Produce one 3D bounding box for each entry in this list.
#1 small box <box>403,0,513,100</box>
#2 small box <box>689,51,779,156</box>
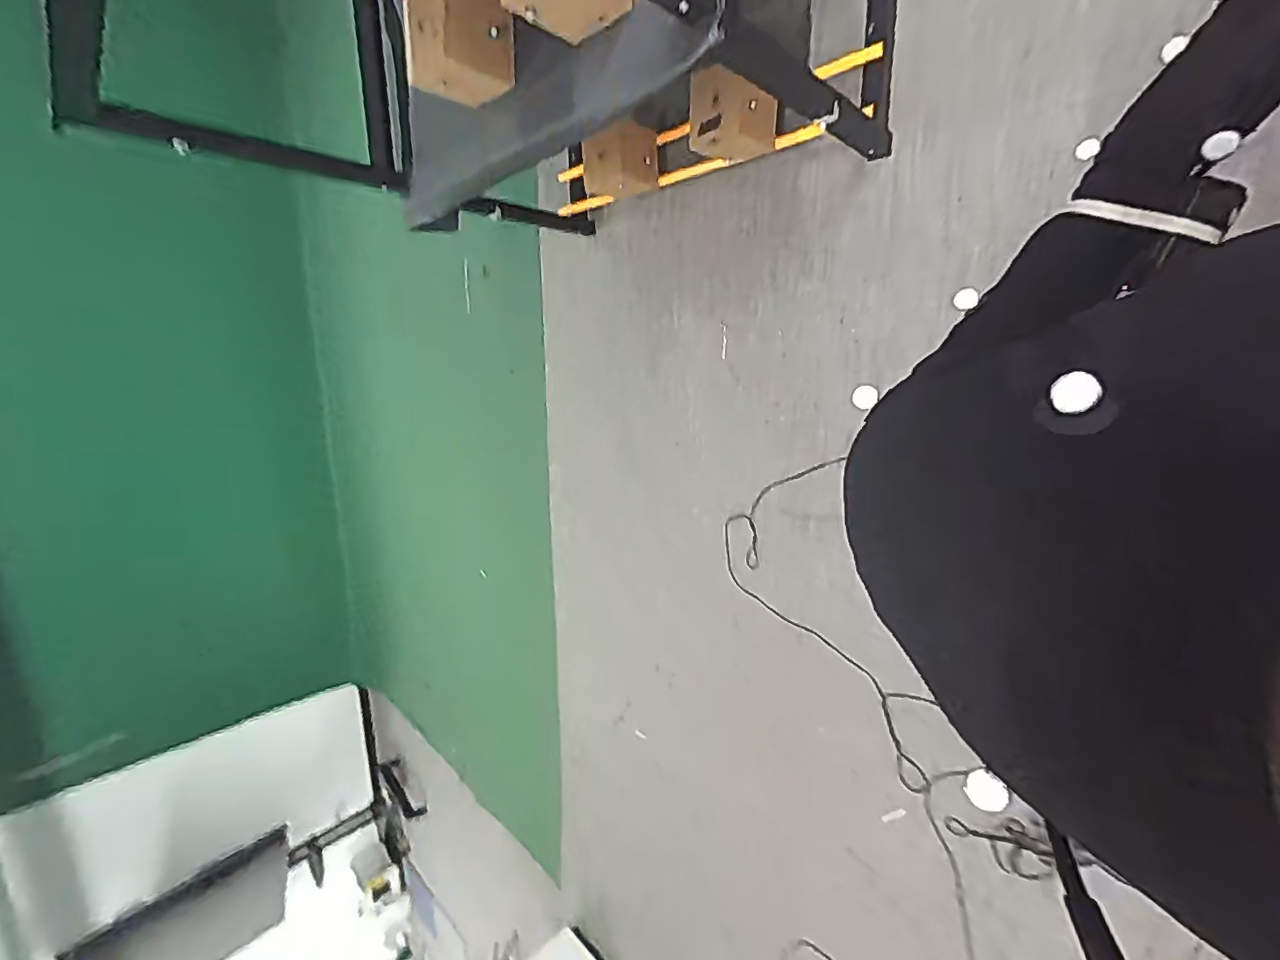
[{"bbox_3d":[-0.393,-0.960,1.173,0.179,0.176,0.168,15,109,42],"label":"small box"},{"bbox_3d":[0.248,-0.973,1.421,0.168,0.176,0.179,15,110,42],"label":"small box"}]
